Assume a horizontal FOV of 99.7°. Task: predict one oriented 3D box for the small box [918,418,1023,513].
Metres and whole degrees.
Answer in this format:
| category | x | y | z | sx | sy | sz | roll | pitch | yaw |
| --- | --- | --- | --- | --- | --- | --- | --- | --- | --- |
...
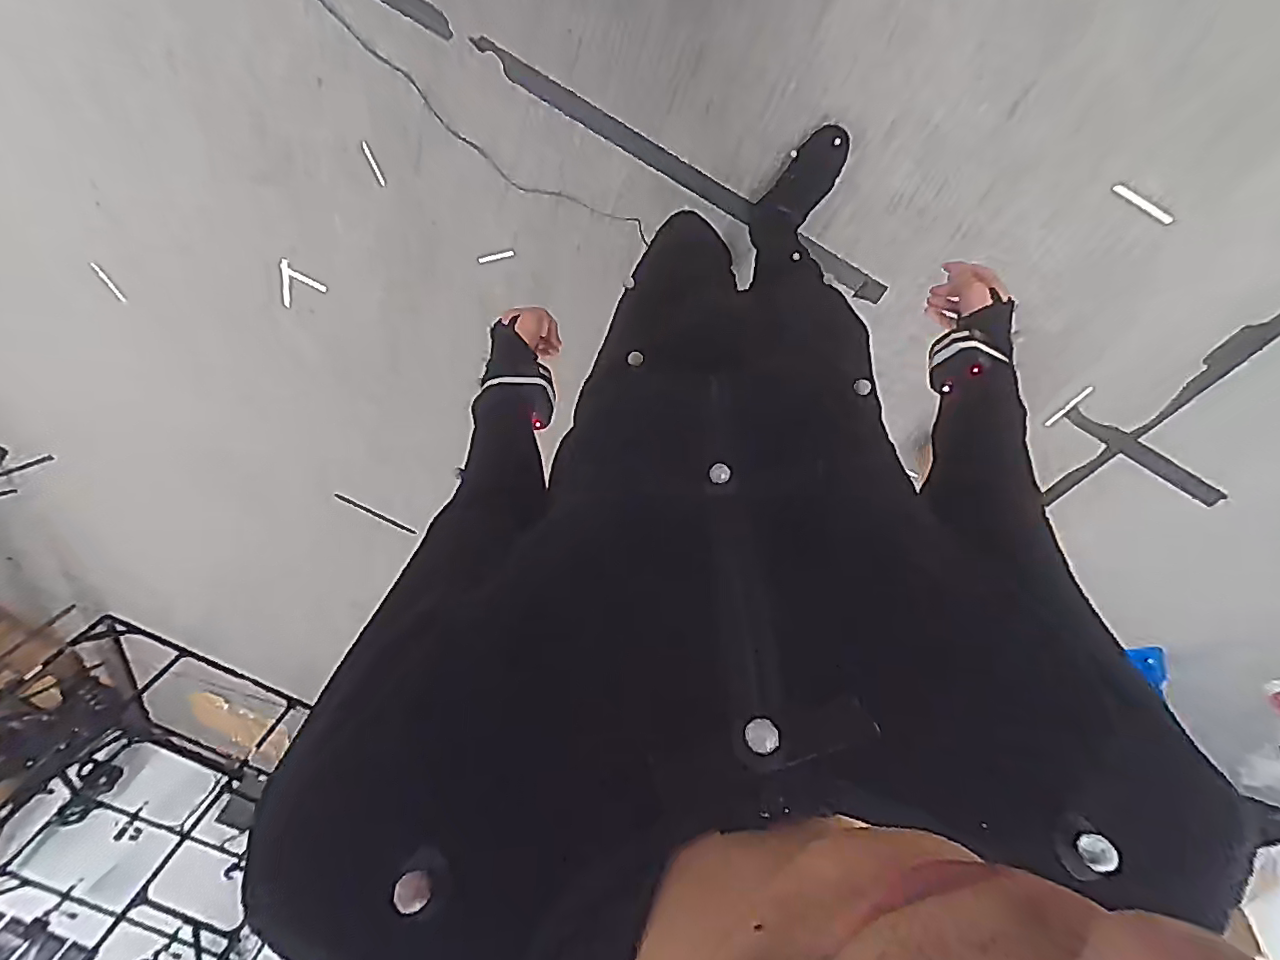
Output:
| category | x | y | z | sx | sy | sz | roll | pitch | yaw |
| --- | --- | --- | --- | --- | --- | --- | --- | --- | --- |
| small box | 0.919 | -0.046 | 1.523 | 0.179 | 0.176 | 0.168 | 26 | 130 | -2 |
